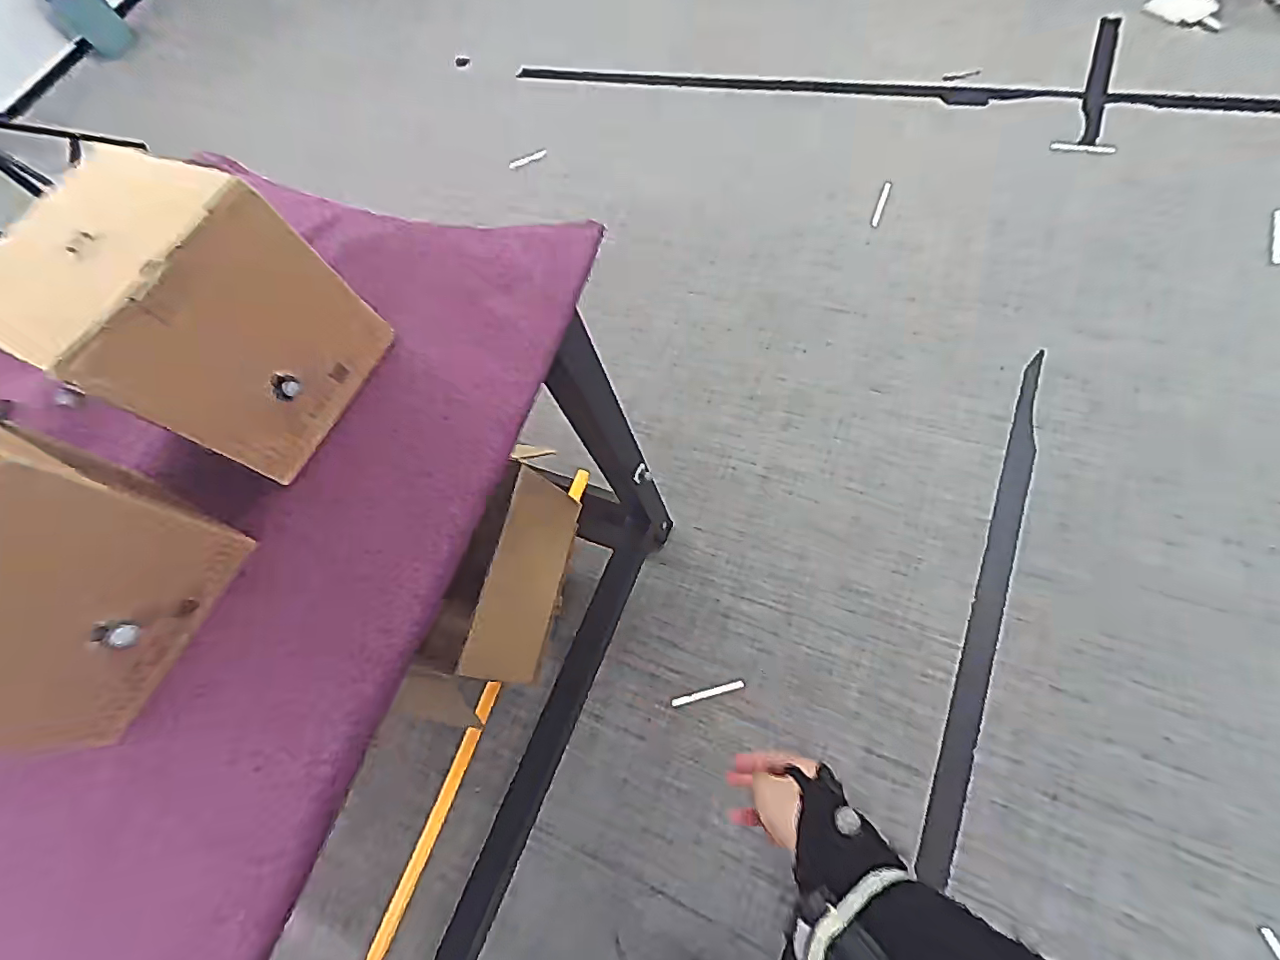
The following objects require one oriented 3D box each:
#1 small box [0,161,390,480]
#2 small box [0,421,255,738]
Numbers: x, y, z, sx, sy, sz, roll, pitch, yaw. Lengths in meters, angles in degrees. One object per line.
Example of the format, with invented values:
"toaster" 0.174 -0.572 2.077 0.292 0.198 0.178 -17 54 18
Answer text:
"small box" -0.353 -0.120 0.439 0.179 0.176 0.168 20 72 21
"small box" -0.432 0.064 0.374 0.179 0.176 0.168 20 72 20
